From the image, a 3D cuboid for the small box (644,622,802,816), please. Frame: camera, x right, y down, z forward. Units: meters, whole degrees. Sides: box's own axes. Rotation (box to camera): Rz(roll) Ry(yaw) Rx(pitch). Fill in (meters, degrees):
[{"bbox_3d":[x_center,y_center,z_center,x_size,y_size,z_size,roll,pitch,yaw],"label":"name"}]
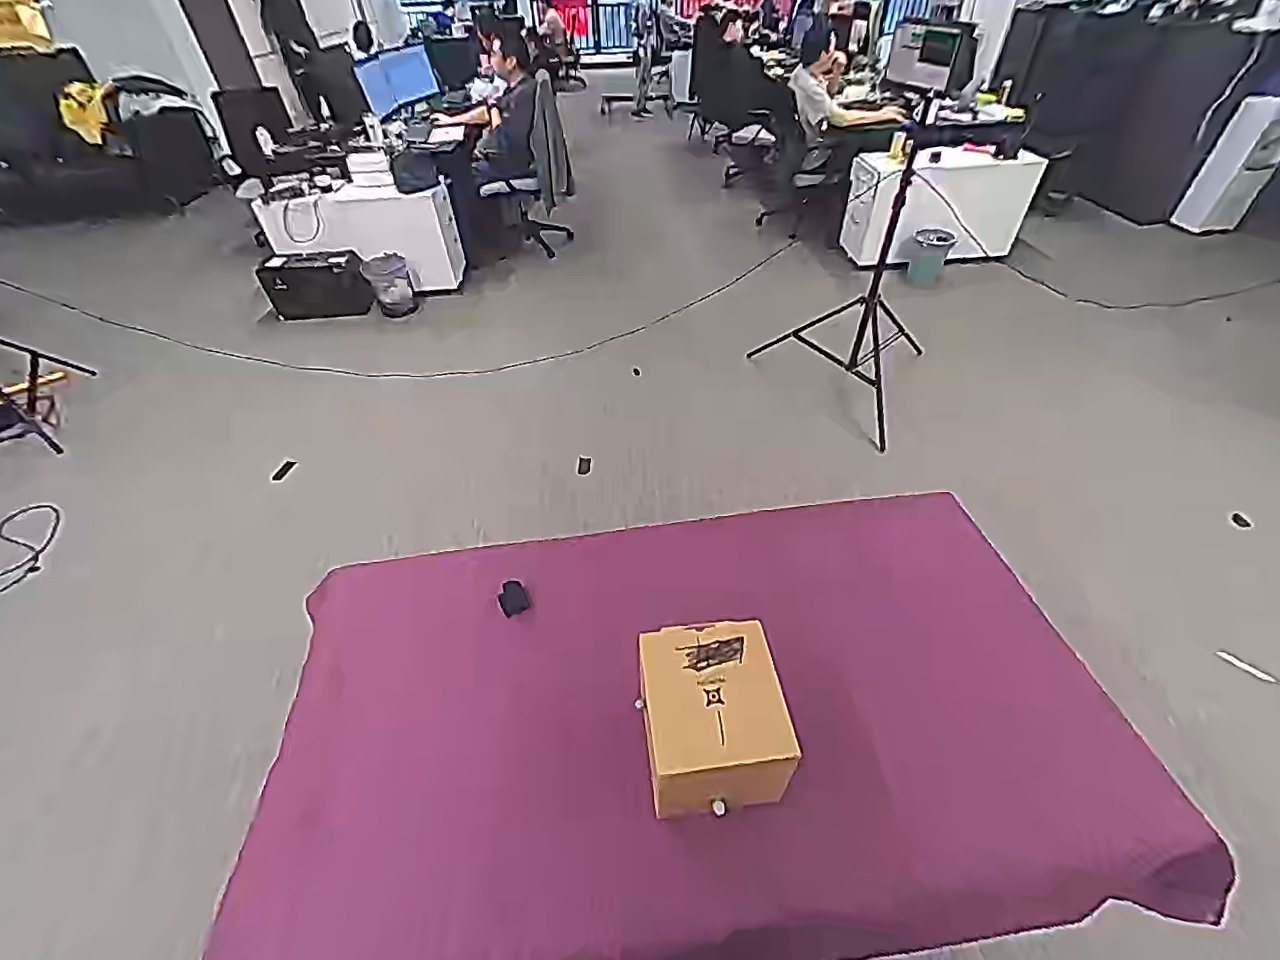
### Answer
[{"bbox_3d":[0.095,0.315,0.716,0.168,0.176,0.179,-6,44,-4],"label":"small box"}]
